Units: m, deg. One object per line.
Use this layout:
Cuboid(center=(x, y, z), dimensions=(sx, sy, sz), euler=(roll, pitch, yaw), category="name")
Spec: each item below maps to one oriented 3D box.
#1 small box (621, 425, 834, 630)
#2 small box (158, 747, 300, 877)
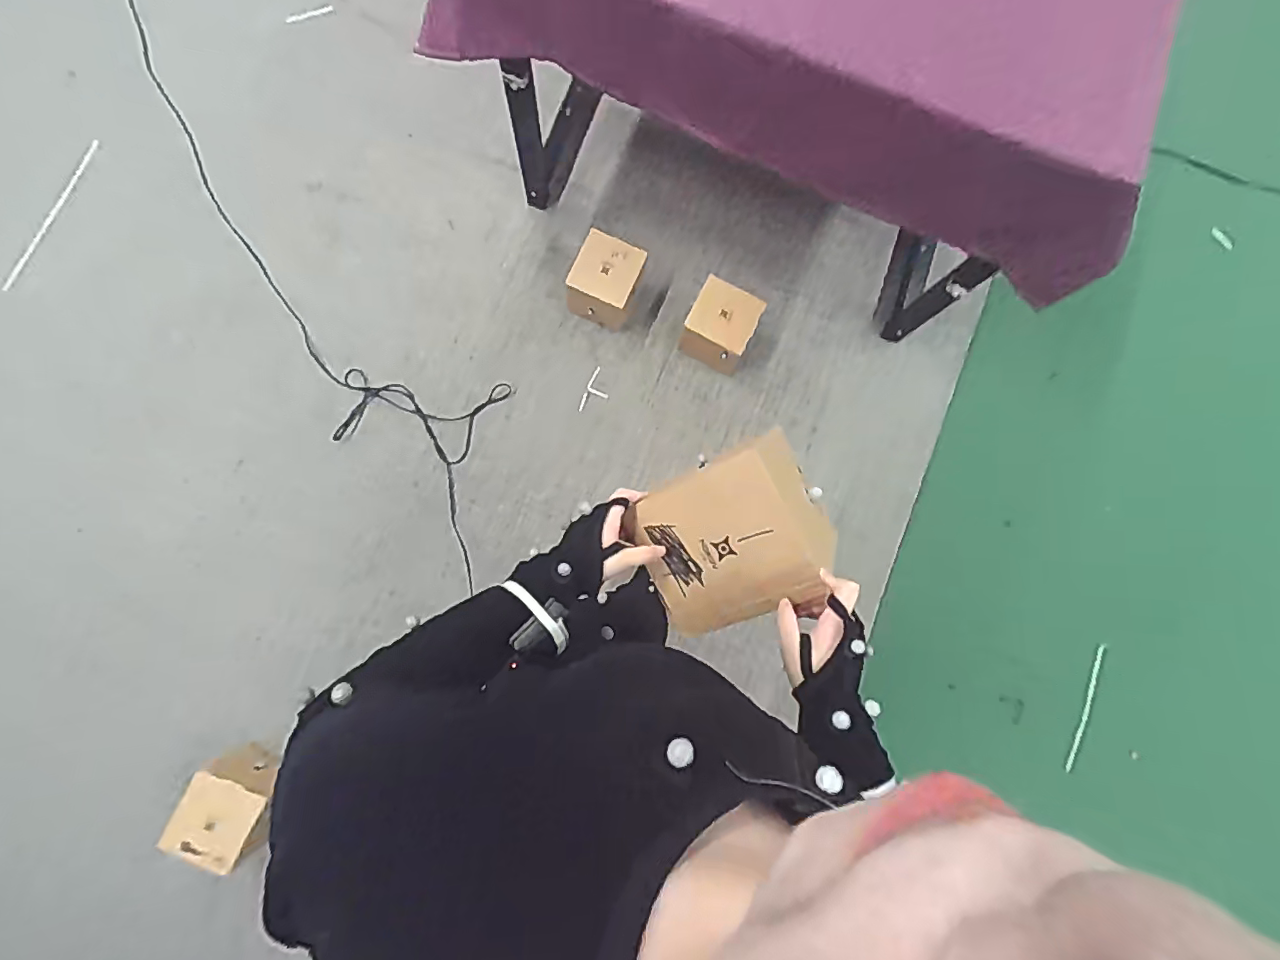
Cuboid(center=(0.113, 0.049, 0.644), dimensions=(0.179, 0.176, 0.168), euler=(-27, 91, 26), category="small box")
Cuboid(center=(-0.931, 0.752, 1.250), dimensions=(0.168, 0.176, 0.179), euler=(26, 80, 0), category="small box")
